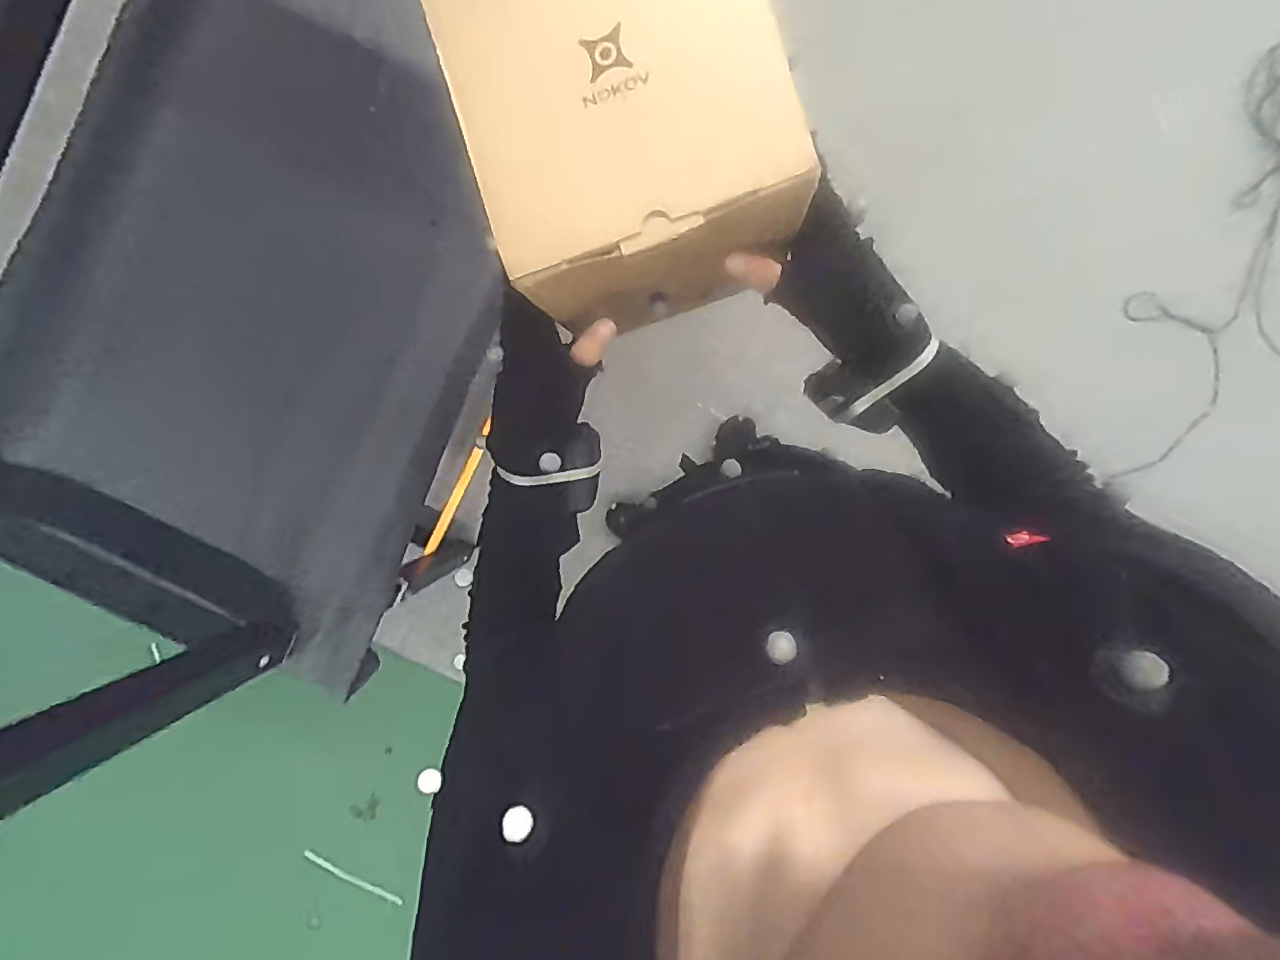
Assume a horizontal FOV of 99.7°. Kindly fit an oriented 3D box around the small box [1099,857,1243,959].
[{"bbox_3d":[1.369,1.137,1.410,0.179,0.176,0.168,28,92,0],"label":"small box"}]
